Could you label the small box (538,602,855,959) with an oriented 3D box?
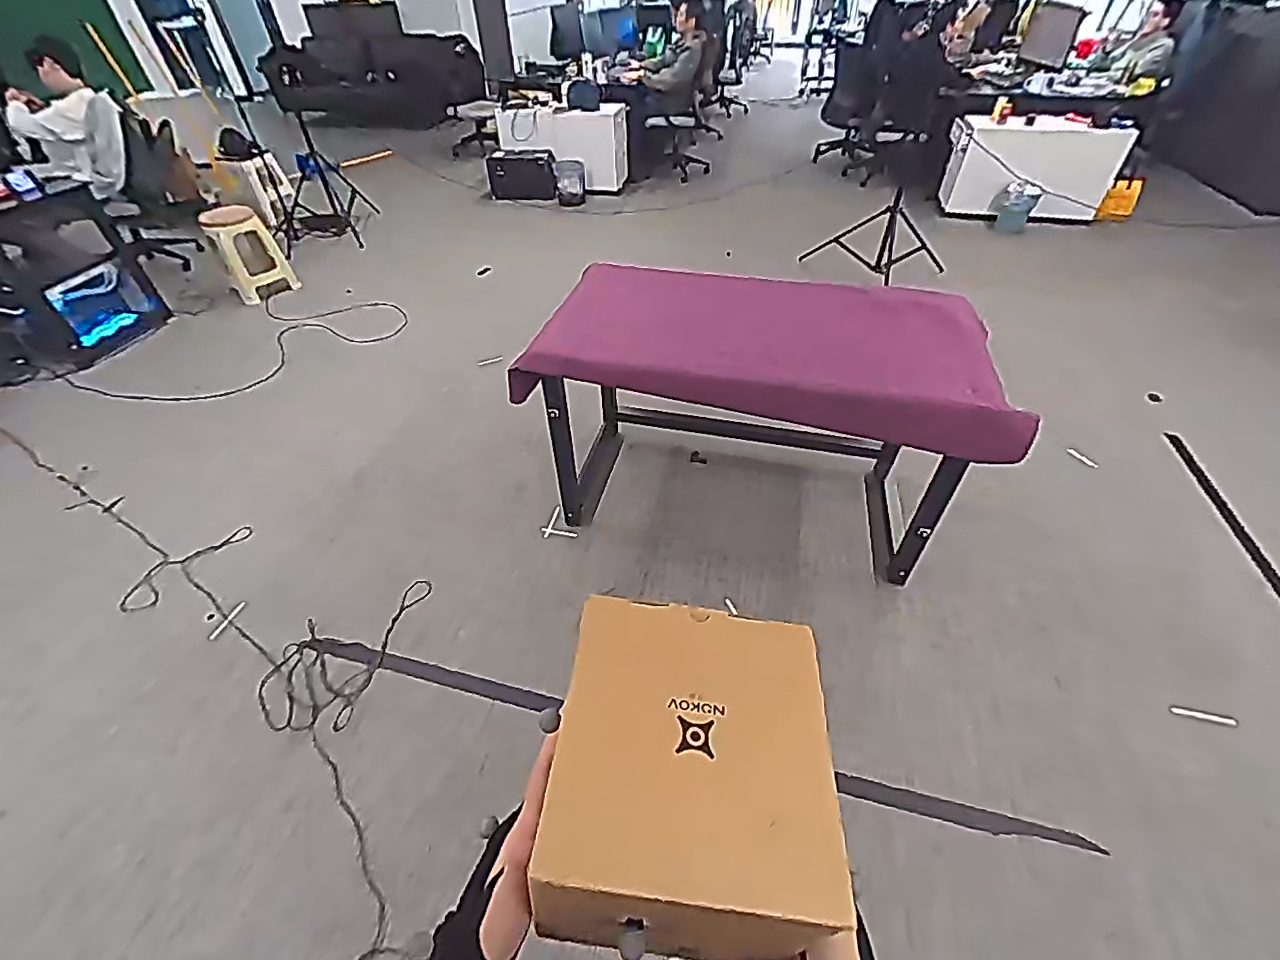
[{"bbox_3d":[0.030,0.217,0.388,0.168,0.176,0.179,8,40,0],"label":"small box"}]
